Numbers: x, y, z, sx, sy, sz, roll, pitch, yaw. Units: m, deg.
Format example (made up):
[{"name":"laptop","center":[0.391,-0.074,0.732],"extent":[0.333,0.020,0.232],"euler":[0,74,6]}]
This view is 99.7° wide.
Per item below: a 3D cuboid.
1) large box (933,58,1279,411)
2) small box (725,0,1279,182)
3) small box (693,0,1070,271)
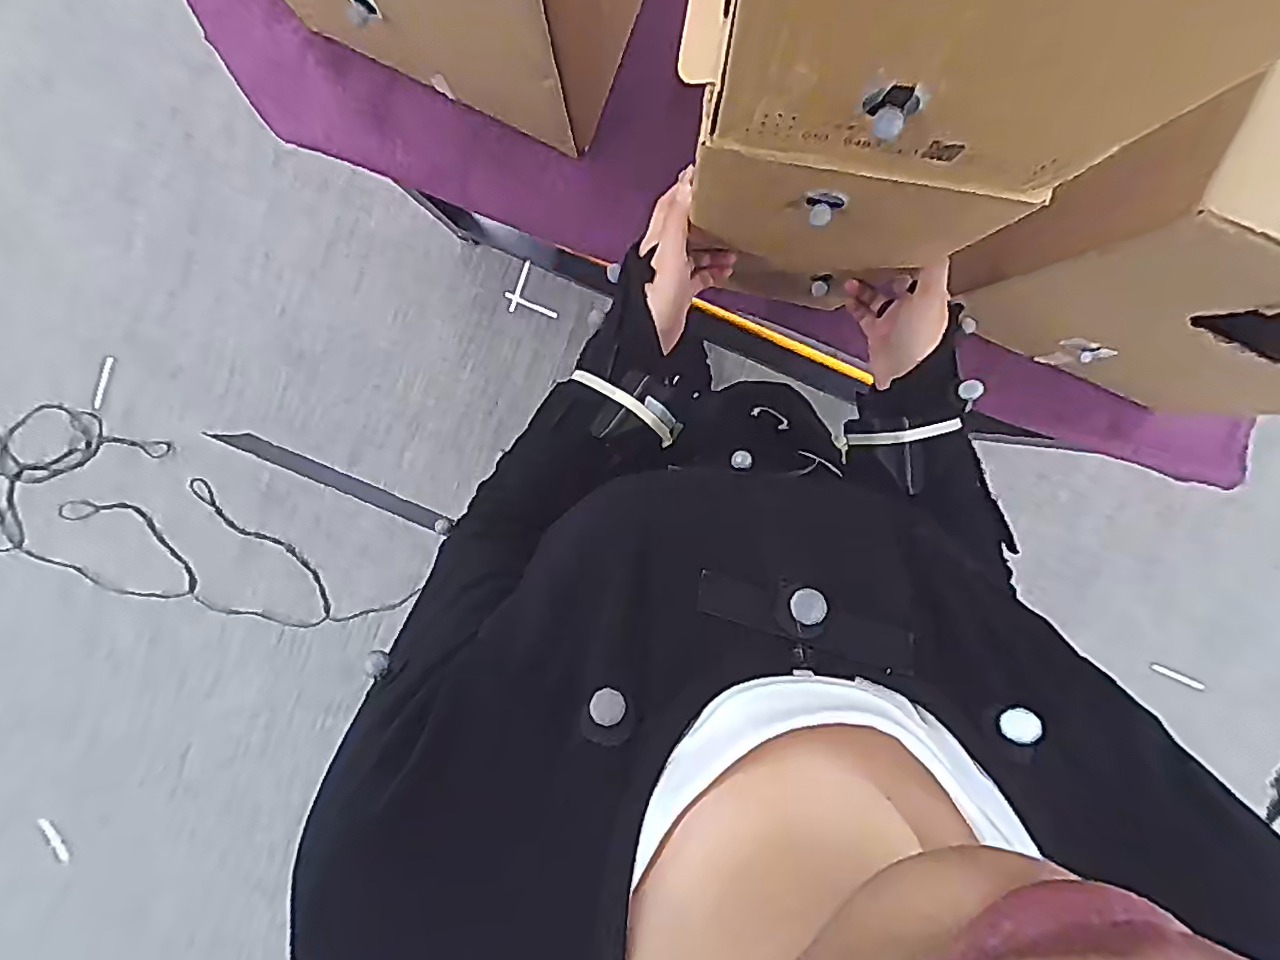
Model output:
[{"name":"large box","center":[0.527,-0.294,0.434],"extent":[0.320,0.320,0.408],"euler":[22,97,-4]},{"name":"small box","center":[0.126,-0.223,0.164],"extent":[0.168,0.176,0.179],"euler":[9,100,1]},{"name":"small box","center":[0.132,-0.238,0.325],"extent":[0.179,0.176,0.168],"euler":[10,99,1]}]
